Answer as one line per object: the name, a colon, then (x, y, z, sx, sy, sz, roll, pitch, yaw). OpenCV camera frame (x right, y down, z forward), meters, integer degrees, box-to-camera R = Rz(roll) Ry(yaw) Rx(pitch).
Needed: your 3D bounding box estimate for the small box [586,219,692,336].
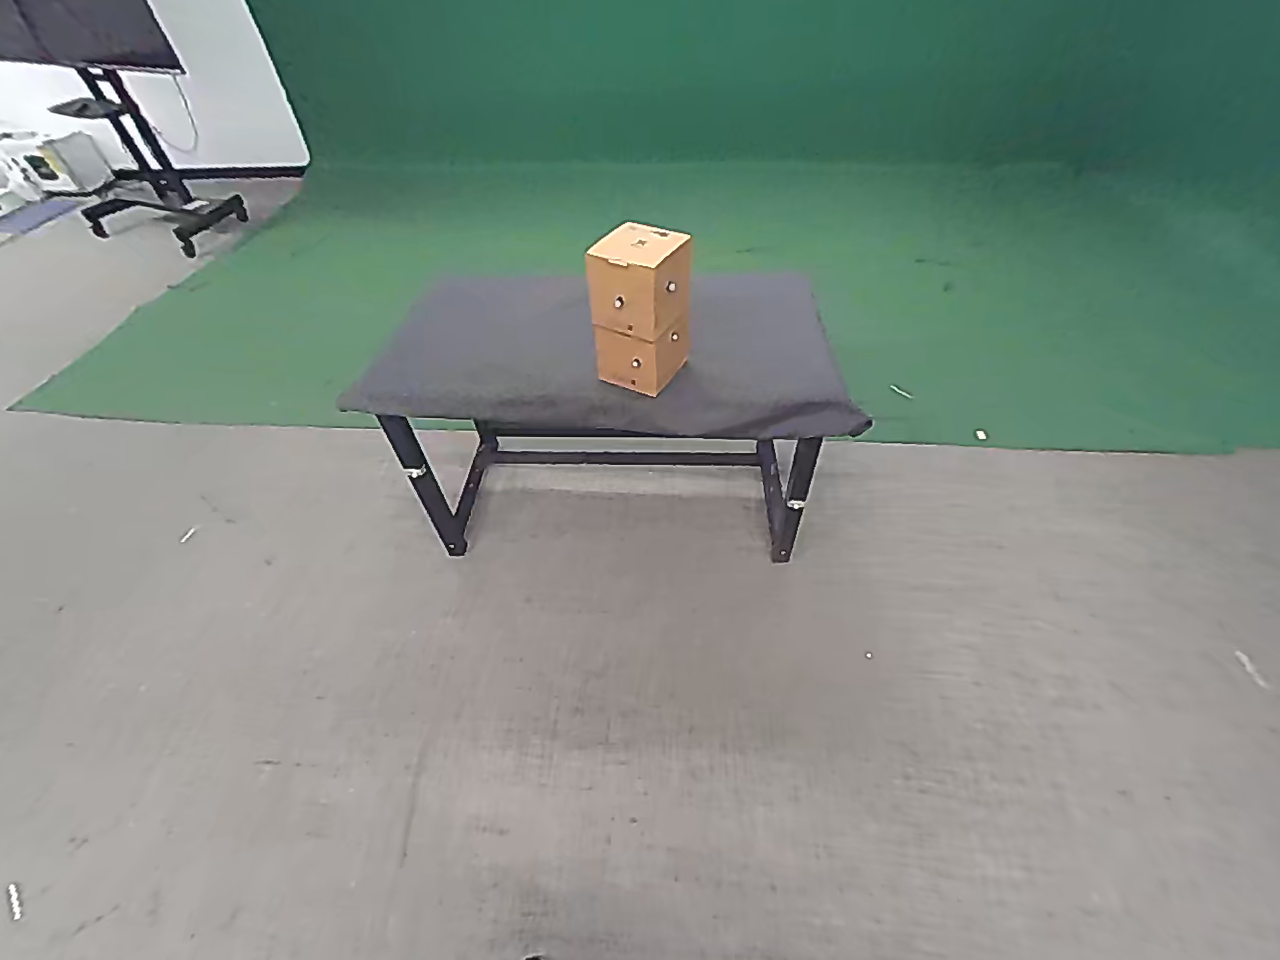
small box: (0.004, -0.445, 1.195, 0.168, 0.176, 0.179, 23, 54, 20)

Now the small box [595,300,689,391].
small box: (0.009, -0.344, 1.324, 0.168, 0.176, 0.179, 22, 51, 20)
